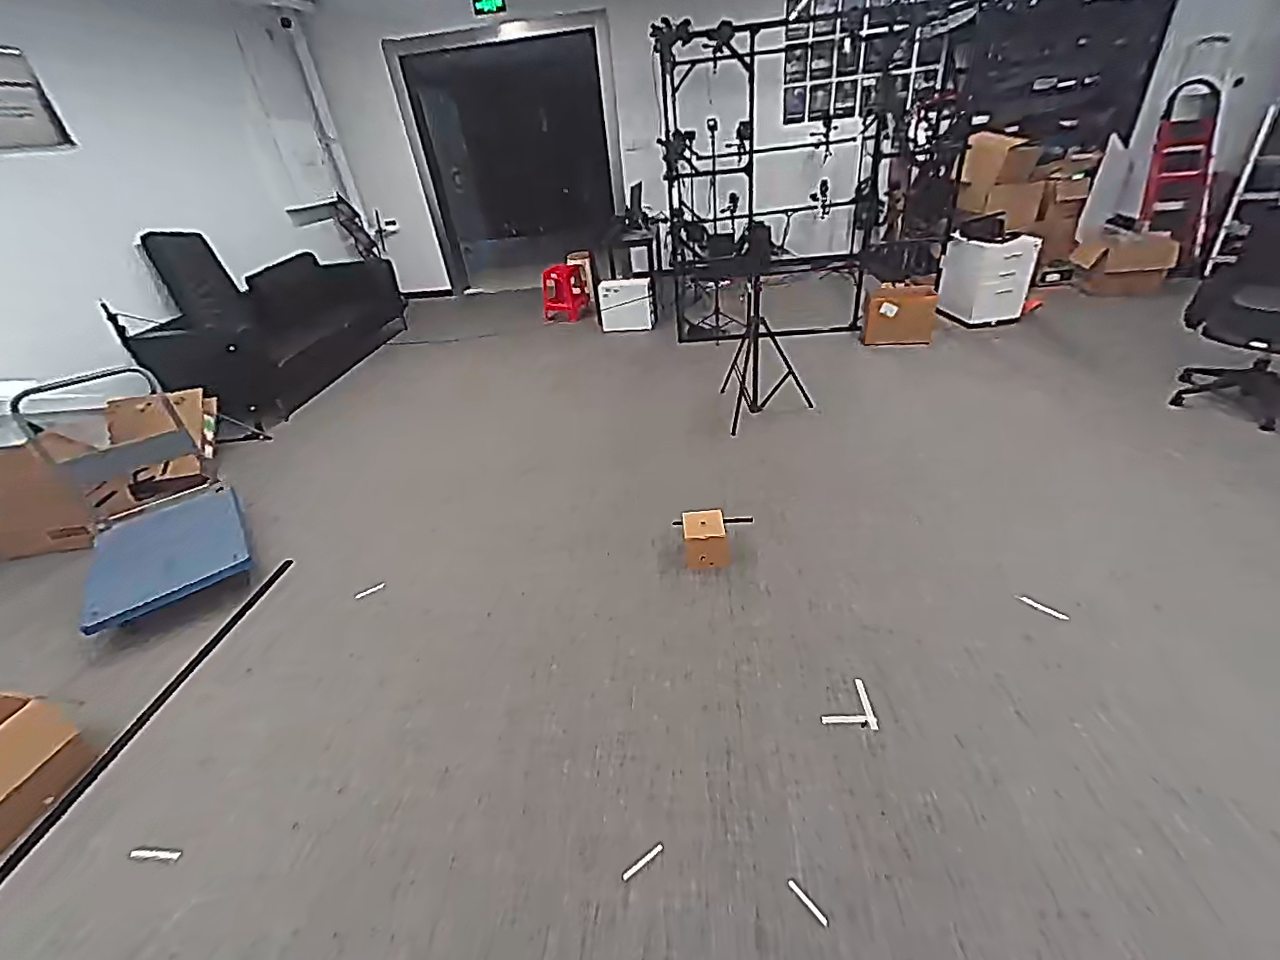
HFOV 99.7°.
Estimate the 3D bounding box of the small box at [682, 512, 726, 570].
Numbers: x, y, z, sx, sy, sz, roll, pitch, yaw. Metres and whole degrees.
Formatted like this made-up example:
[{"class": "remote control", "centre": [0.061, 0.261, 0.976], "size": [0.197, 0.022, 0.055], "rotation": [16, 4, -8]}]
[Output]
[{"class": "small box", "centre": [0.266, 0.254, 2.257], "size": [0.168, 0.176, 0.179], "rotation": [-6, 33, 3]}]
